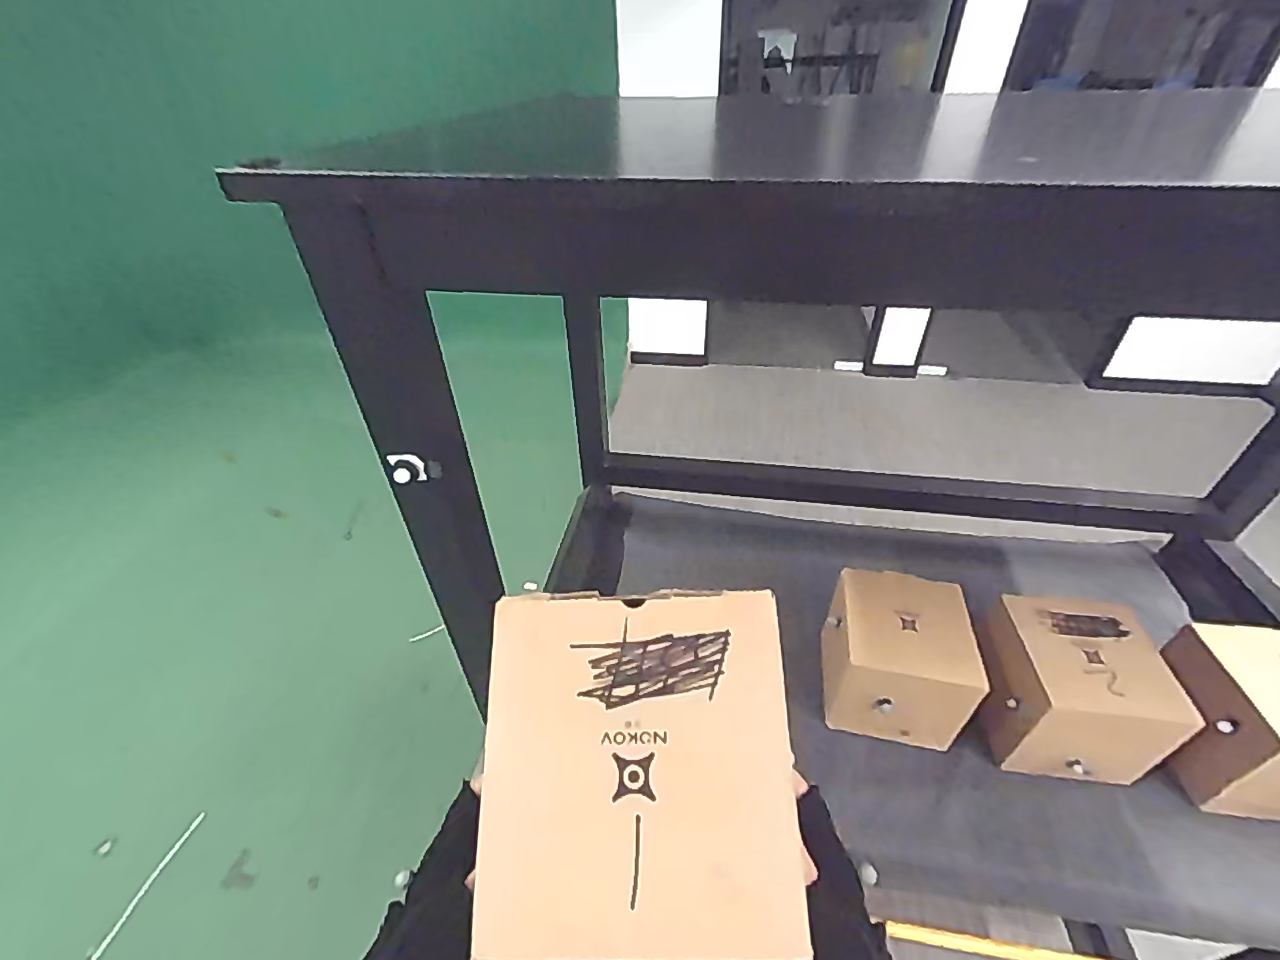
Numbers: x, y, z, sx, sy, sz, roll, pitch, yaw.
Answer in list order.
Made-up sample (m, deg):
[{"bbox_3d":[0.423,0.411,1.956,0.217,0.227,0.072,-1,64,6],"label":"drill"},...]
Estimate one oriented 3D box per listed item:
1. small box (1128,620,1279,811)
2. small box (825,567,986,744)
[{"bbox_3d":[0.810,0.311,0.706,0.168,0.176,0.179,4,38,6],"label":"small box"},{"bbox_3d":[0.374,0.258,0.797,0.168,0.176,0.179,7,39,11],"label":"small box"}]
